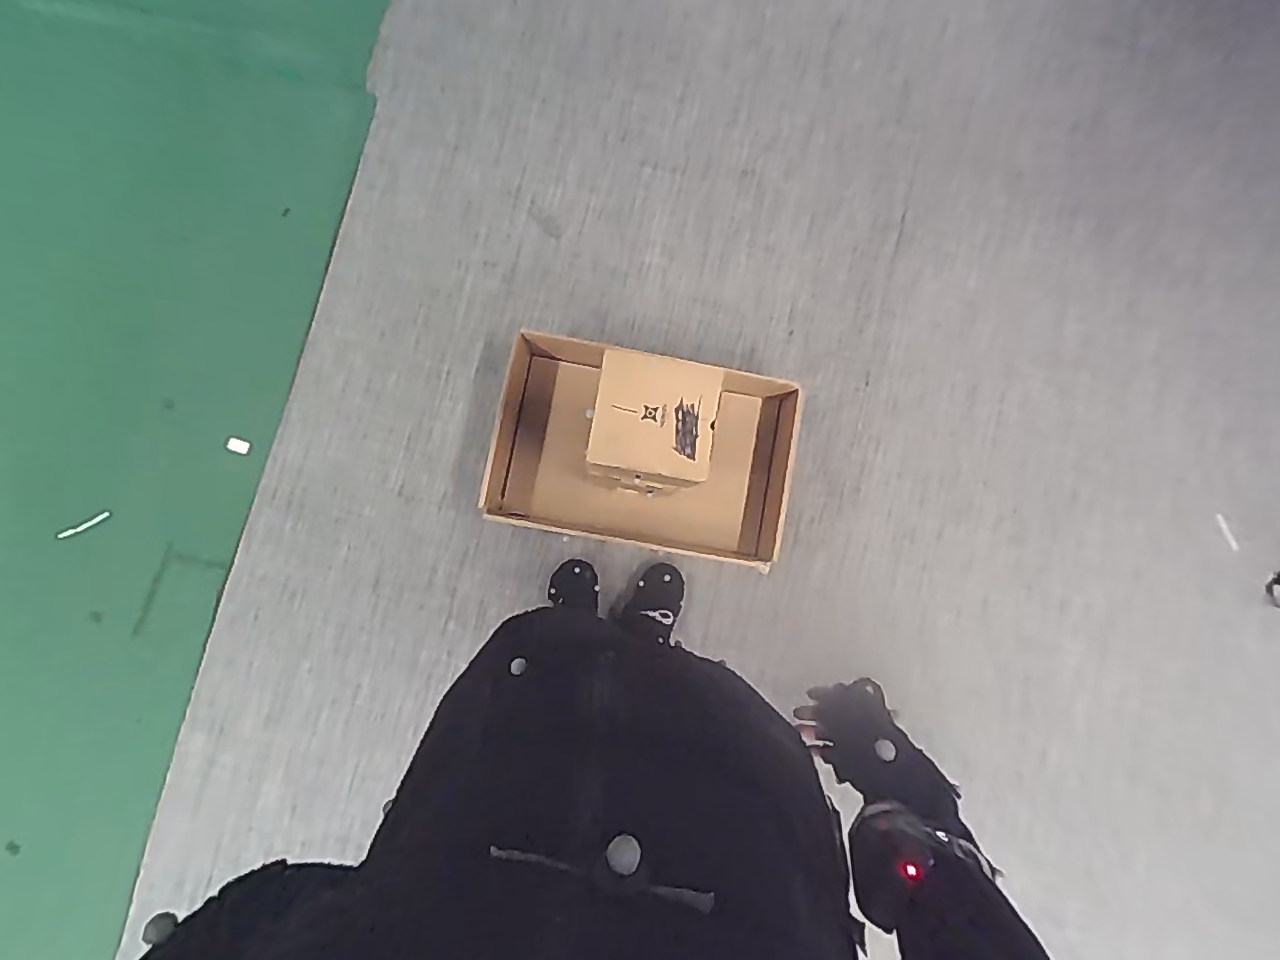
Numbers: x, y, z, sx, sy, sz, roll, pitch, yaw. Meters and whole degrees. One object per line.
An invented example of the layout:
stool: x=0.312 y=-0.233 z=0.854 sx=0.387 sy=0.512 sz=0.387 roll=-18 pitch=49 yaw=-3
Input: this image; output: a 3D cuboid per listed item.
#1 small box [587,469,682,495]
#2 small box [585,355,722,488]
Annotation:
small box: x=0.001 y=-0.067 z=0.997 sx=0.168 sy=0.176 sz=0.179 roll=8 pitch=86 yaw=-2
small box: x=0.017 y=-0.081 z=0.850 sx=0.179 sy=0.176 sz=0.168 roll=10 pitch=86 yaw=-2
